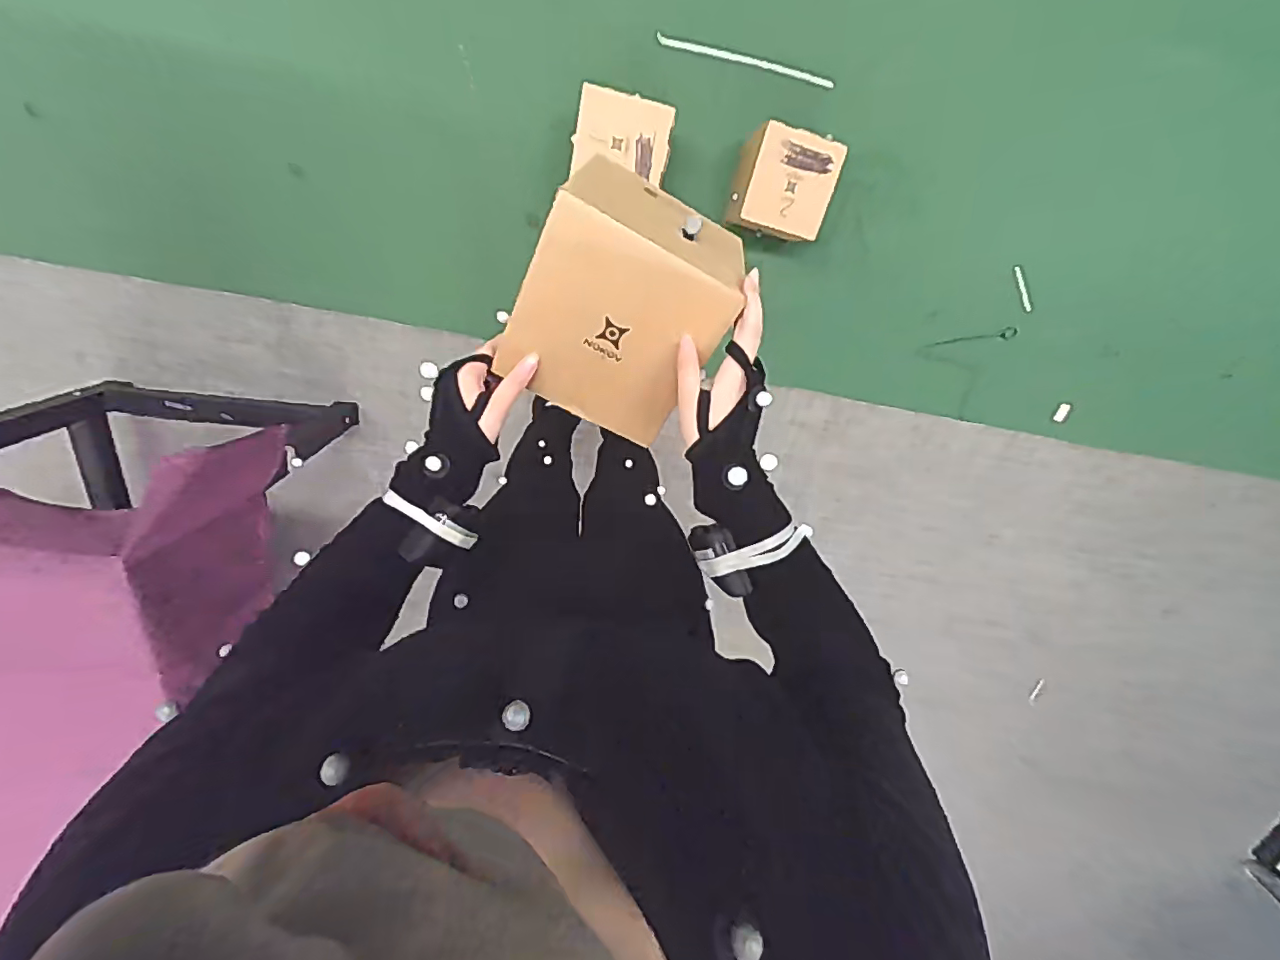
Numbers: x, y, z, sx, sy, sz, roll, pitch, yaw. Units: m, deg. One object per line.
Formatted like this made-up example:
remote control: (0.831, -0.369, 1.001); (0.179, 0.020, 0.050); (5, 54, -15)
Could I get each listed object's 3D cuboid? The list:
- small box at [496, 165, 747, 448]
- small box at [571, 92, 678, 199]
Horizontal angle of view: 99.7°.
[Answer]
small box: (-0.016, -0.171, 0.527); (0.168, 0.176, 0.179); (26, 129, -13)
small box: (-0.034, -0.648, 1.092); (0.179, 0.176, 0.168); (11, 112, -7)
